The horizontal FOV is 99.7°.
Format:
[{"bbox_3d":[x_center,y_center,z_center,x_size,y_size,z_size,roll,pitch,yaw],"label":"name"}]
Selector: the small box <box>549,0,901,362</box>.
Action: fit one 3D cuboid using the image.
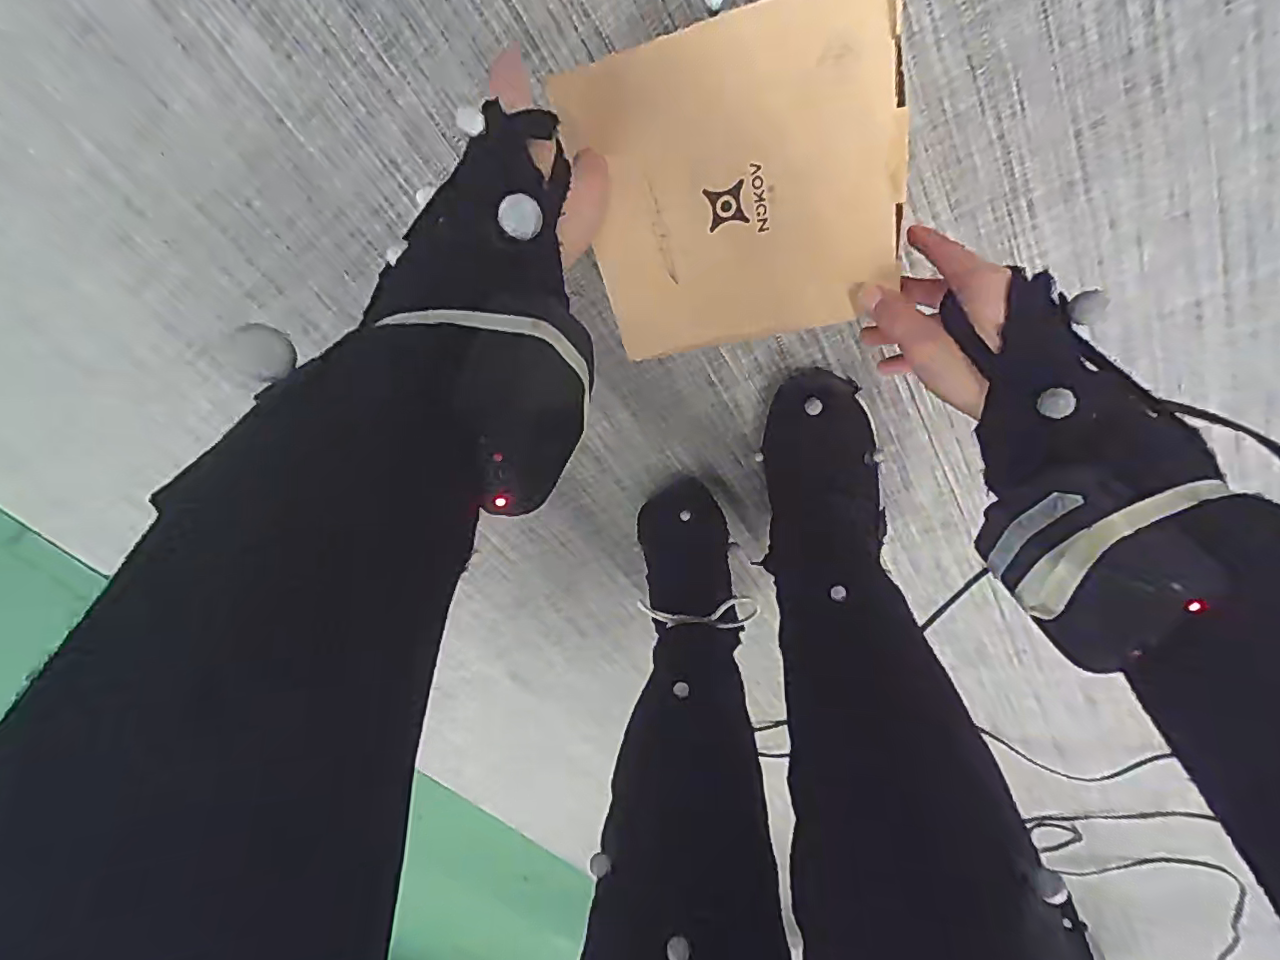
[{"bbox_3d":[0.066,-0.205,0.369,0.179,0.176,0.168,-7,126,18],"label":"small box"}]
